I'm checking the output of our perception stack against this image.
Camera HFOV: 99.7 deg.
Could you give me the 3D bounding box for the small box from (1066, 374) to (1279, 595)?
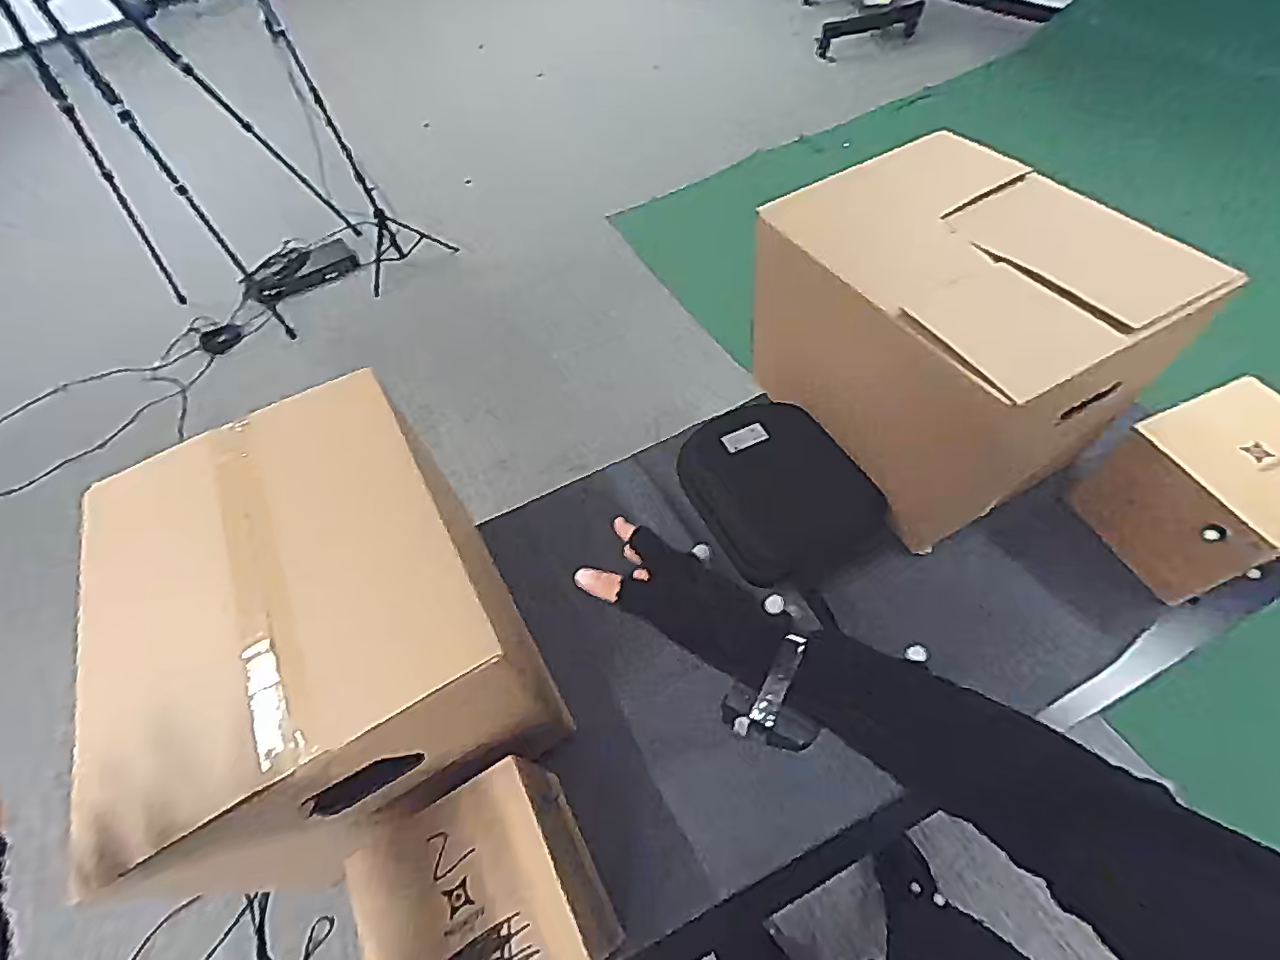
[{"bbox_3d":[0.682,0.011,0.654,0.168,0.176,0.179,-22,59,-5],"label":"small box"}]
